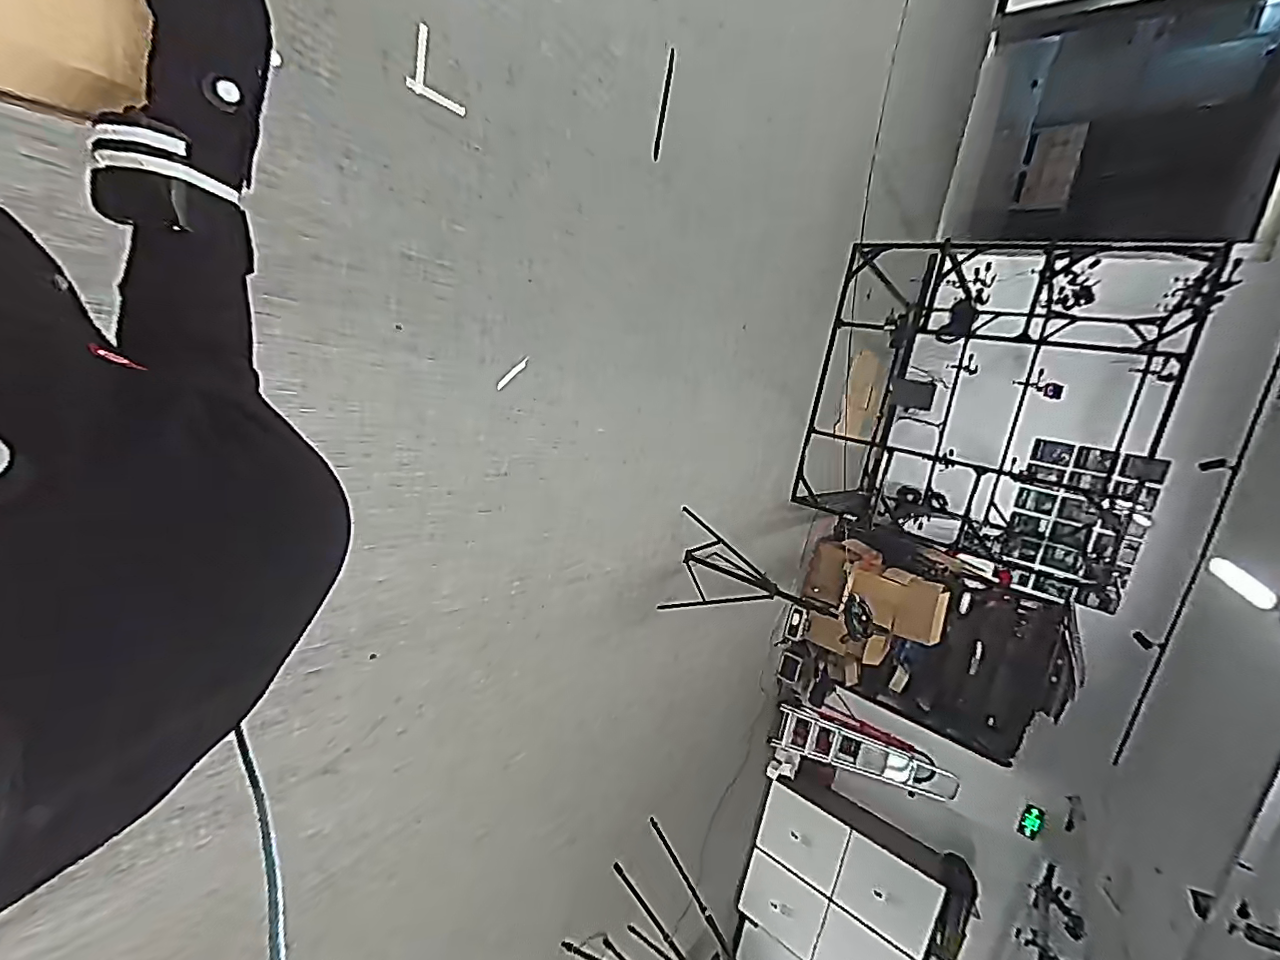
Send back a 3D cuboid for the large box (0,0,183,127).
[{"bbox_3d":[-0.557,-0.447,0.295,0.408,0.320,0.320,-11,123,-54],"label":"large box"}]
